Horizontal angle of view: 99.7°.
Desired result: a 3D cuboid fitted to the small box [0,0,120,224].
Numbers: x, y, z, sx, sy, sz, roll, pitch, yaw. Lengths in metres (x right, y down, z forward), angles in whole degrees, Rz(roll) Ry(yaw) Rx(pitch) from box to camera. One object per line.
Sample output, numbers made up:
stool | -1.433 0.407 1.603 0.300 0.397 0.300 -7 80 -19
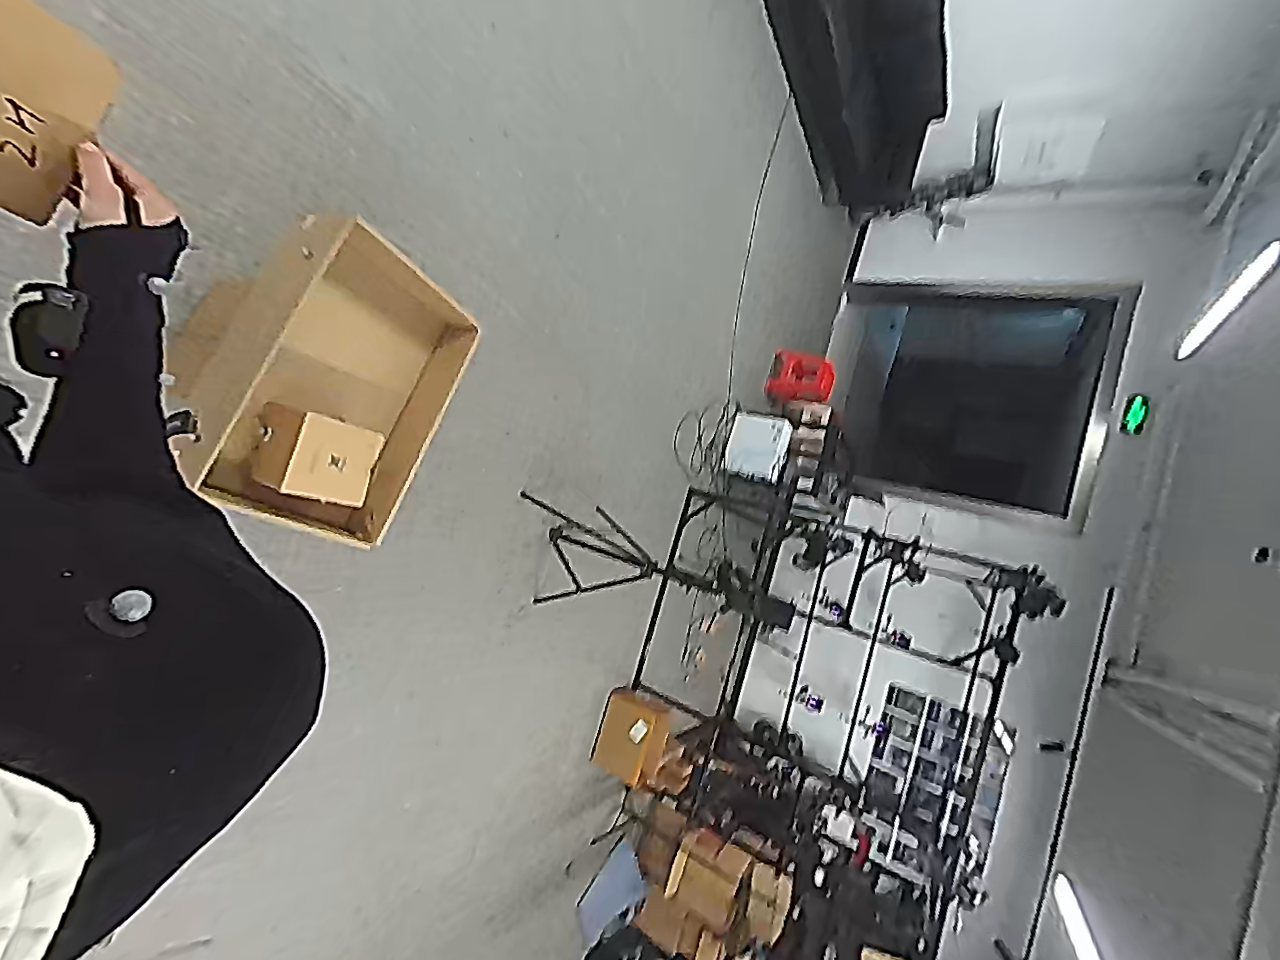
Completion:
small box | -0.599 -0.346 0.437 0.168 0.176 0.179 -63 157 -1
